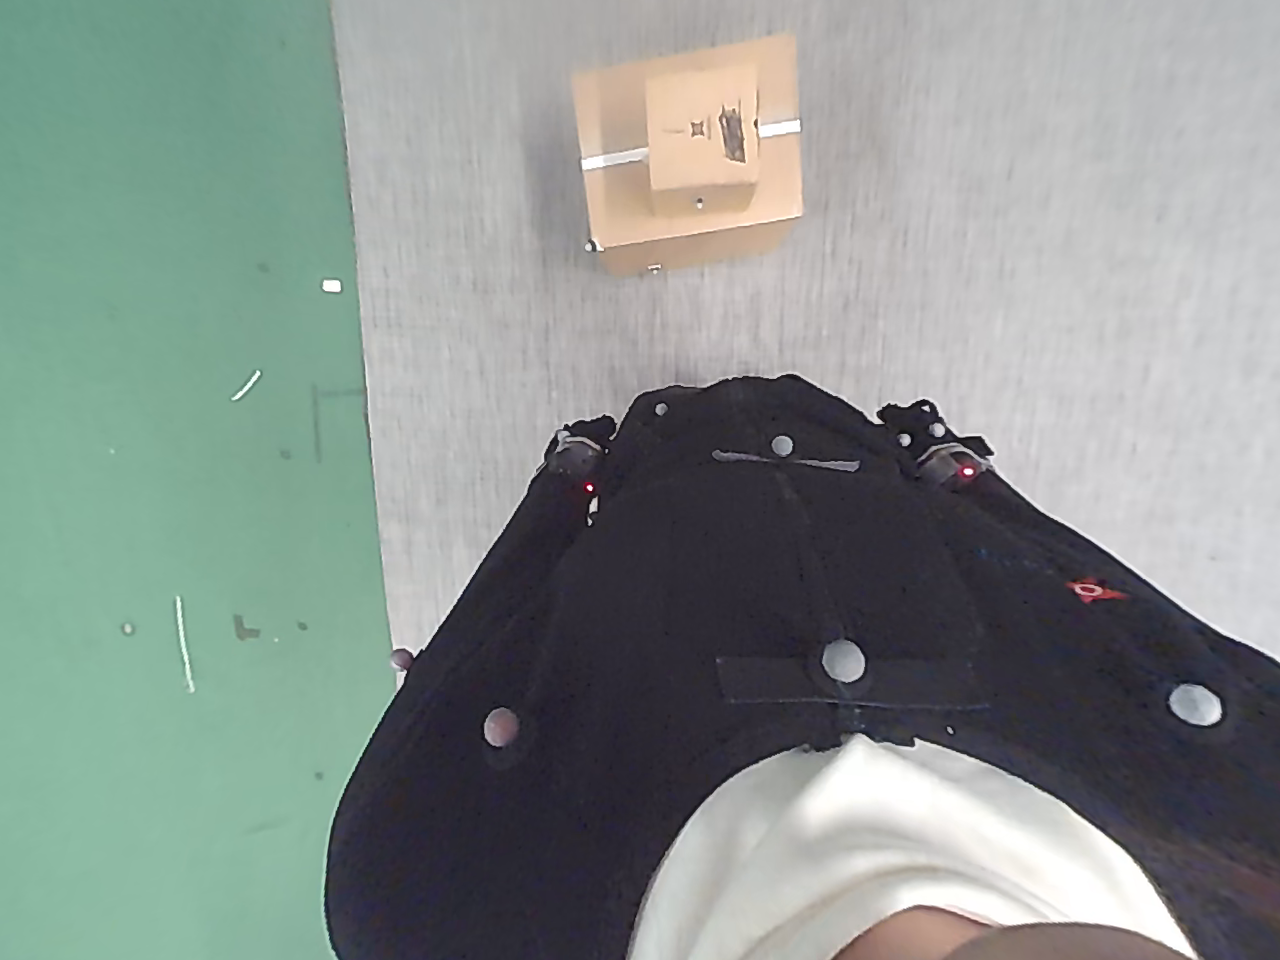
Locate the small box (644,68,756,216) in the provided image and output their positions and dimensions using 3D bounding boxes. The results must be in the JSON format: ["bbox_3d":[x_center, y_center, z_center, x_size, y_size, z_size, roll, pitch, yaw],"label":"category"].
[{"bbox_3d":[0.102,-0.572,0.937,0.179,0.176,0.168,-2,101,6],"label":"small box"}]
